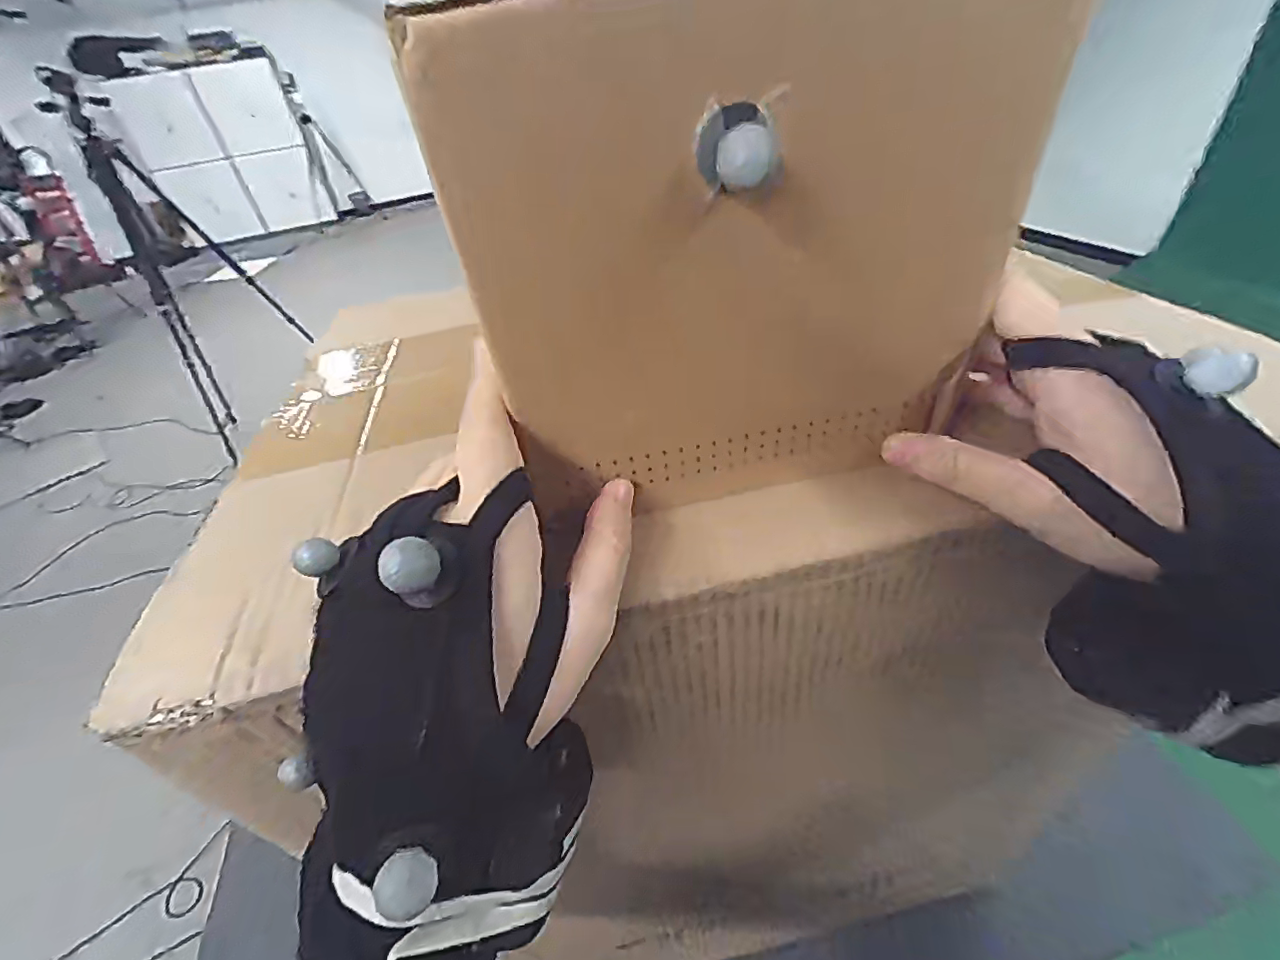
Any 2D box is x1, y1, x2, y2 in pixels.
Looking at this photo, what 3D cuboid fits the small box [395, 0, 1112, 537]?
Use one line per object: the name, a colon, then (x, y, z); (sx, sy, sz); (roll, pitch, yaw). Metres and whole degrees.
small box: (0.026, -0.100, 0.235); (0.179, 0.176, 0.168); (-12, 42, -3)
